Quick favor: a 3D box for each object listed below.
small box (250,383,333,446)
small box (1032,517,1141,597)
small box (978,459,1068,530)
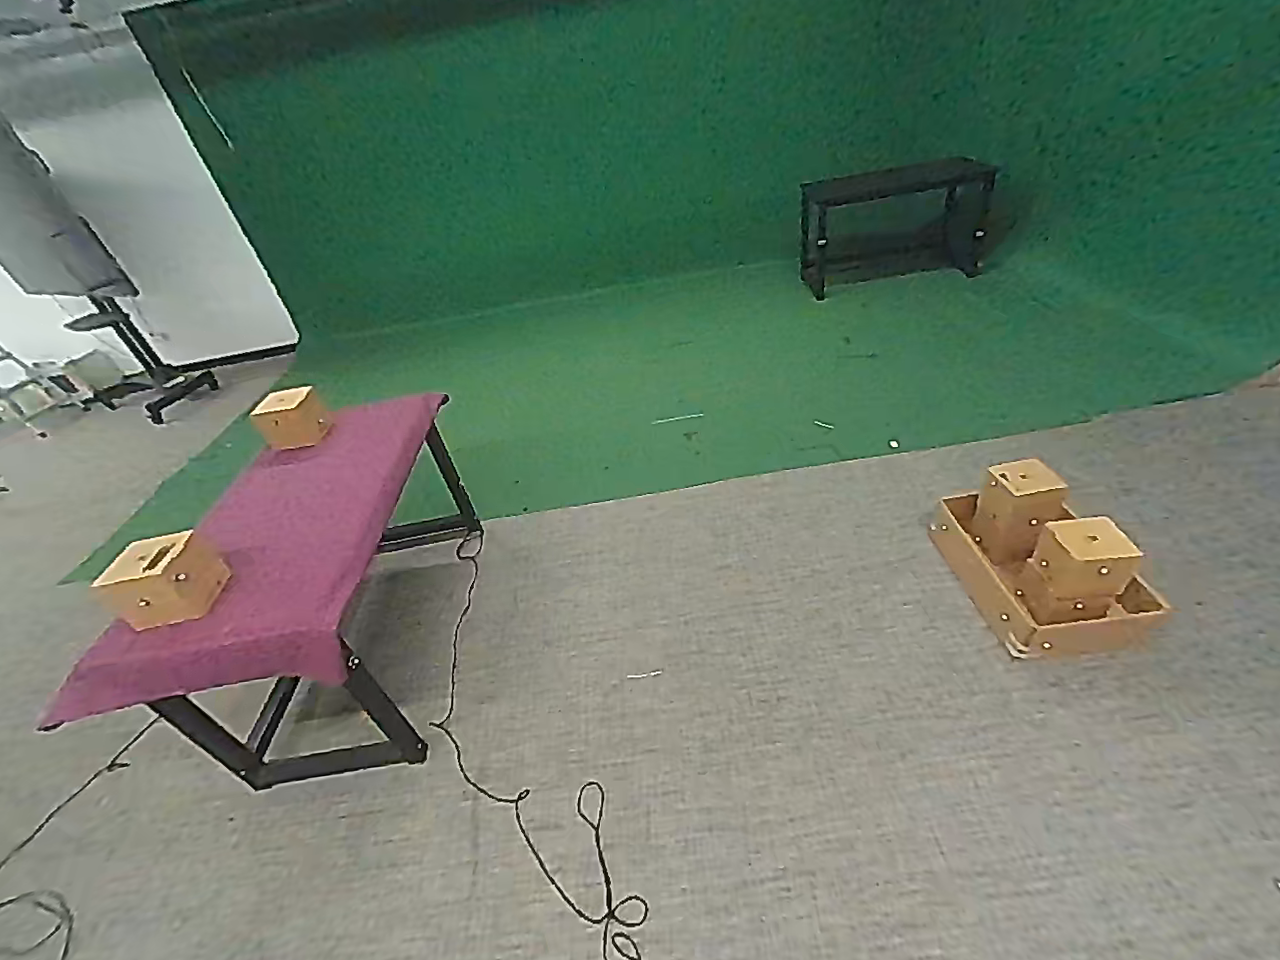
[{"bbox_3d":[-1.327,-0.247,2.071,0.179,0.176,0.168,-8,40,3],"label":"small box"},{"bbox_3d":[1.334,0.234,1.630,0.179,0.176,0.168,-7,38,8],"label":"small box"},{"bbox_3d":[1.312,0.053,1.868,0.179,0.176,0.168,-9,37,2],"label":"small box"}]
